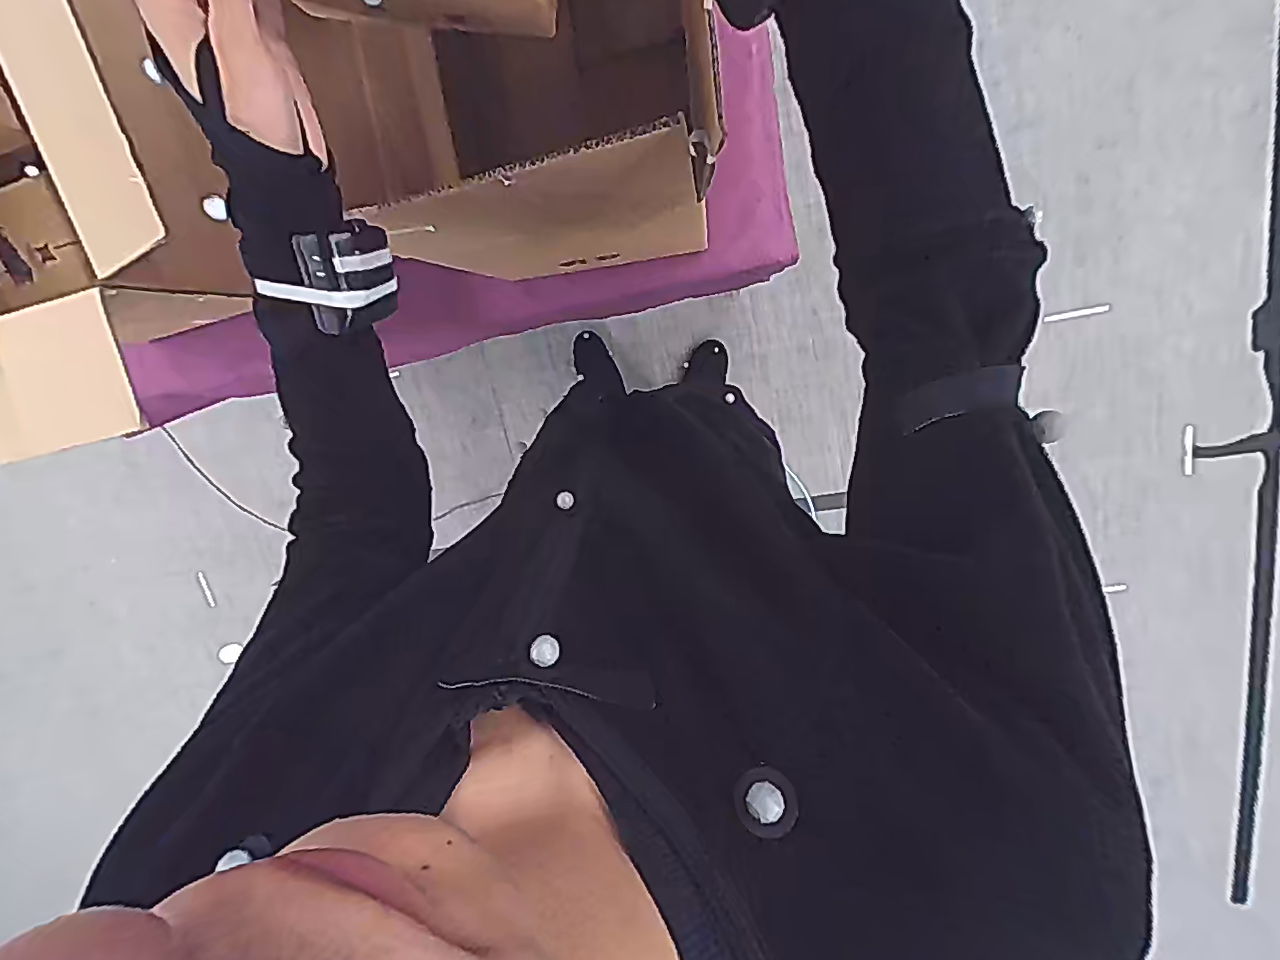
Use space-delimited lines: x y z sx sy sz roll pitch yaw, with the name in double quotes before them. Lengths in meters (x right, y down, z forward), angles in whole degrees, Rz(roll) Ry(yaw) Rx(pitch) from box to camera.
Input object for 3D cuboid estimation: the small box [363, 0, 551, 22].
"small box" -0.133 -0.359 0.257 0.168 0.176 0.179 5 112 -1
